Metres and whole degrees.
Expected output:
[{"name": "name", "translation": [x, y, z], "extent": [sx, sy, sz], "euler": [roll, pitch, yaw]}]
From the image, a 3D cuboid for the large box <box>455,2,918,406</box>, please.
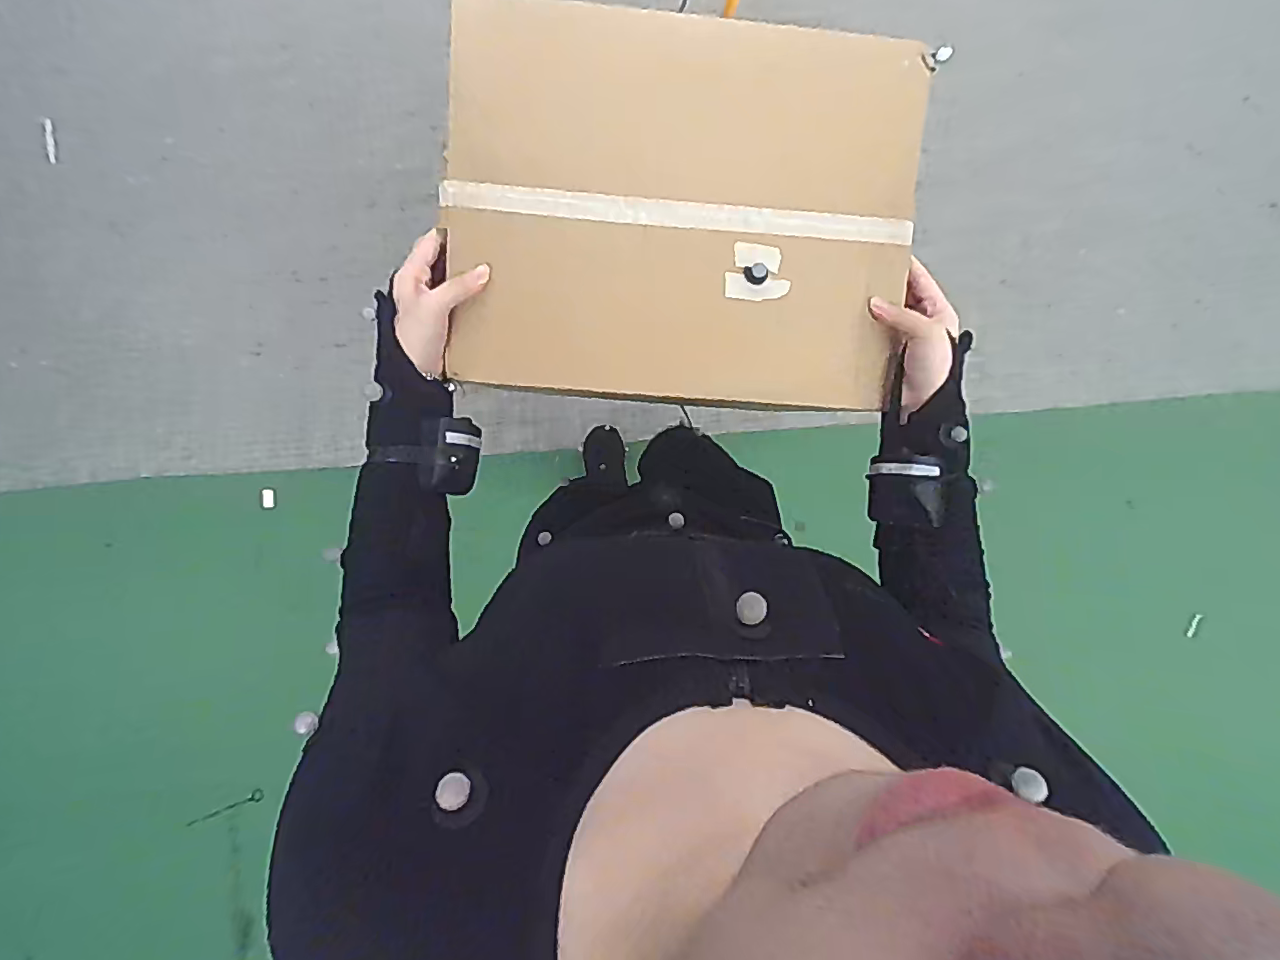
[{"name": "large box", "translation": [0.028, -0.253, 0.624], "extent": [0.408, 0.320, 0.320], "euler": [3, 98, -5]}]
